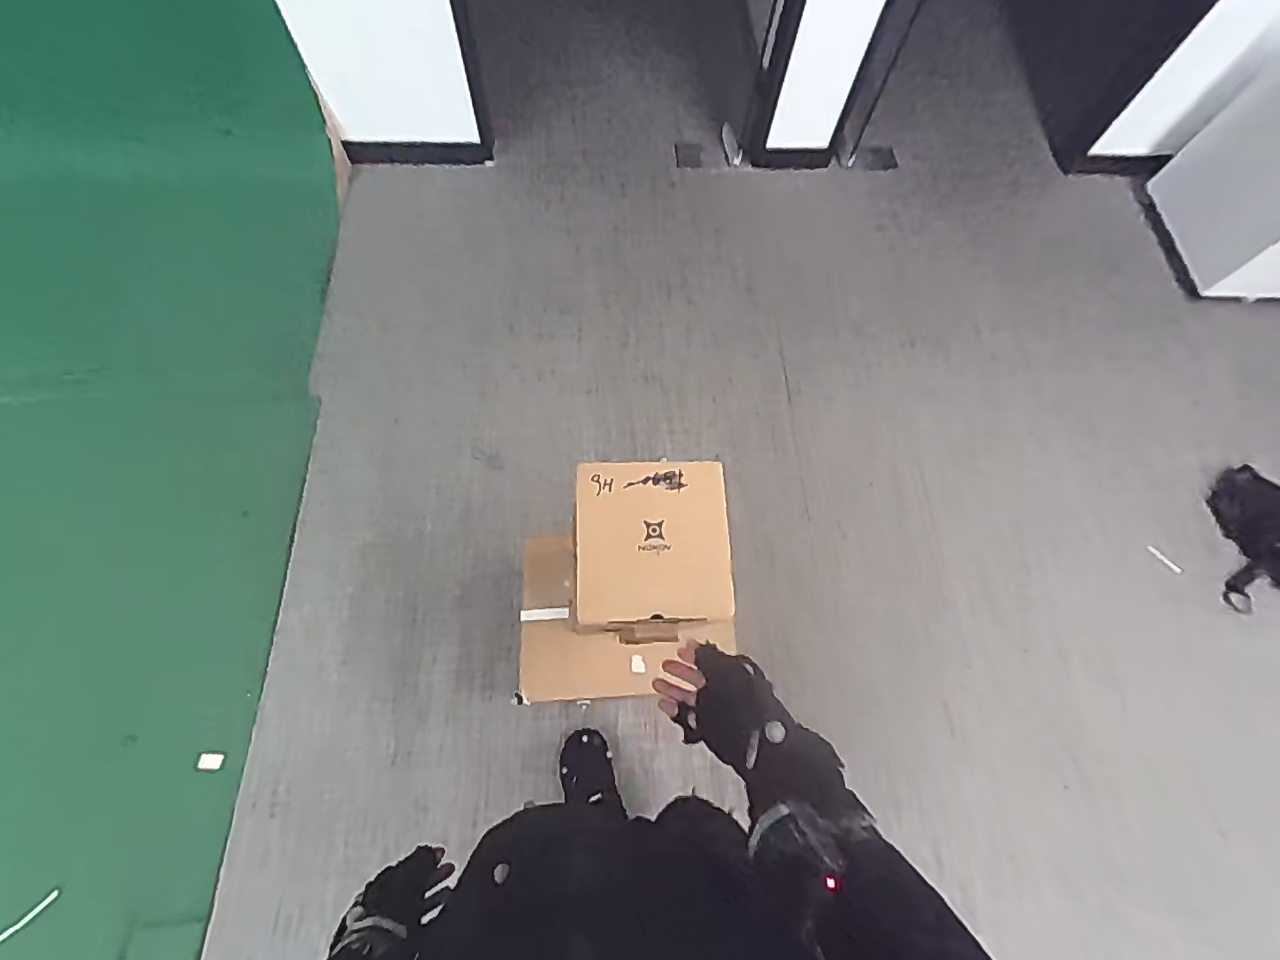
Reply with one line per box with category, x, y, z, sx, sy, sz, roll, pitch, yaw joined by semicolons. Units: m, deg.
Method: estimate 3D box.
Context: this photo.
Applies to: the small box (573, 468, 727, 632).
small box;0.005;0.092;0.663;0.168;0.176;0.179;-1;74;-5
